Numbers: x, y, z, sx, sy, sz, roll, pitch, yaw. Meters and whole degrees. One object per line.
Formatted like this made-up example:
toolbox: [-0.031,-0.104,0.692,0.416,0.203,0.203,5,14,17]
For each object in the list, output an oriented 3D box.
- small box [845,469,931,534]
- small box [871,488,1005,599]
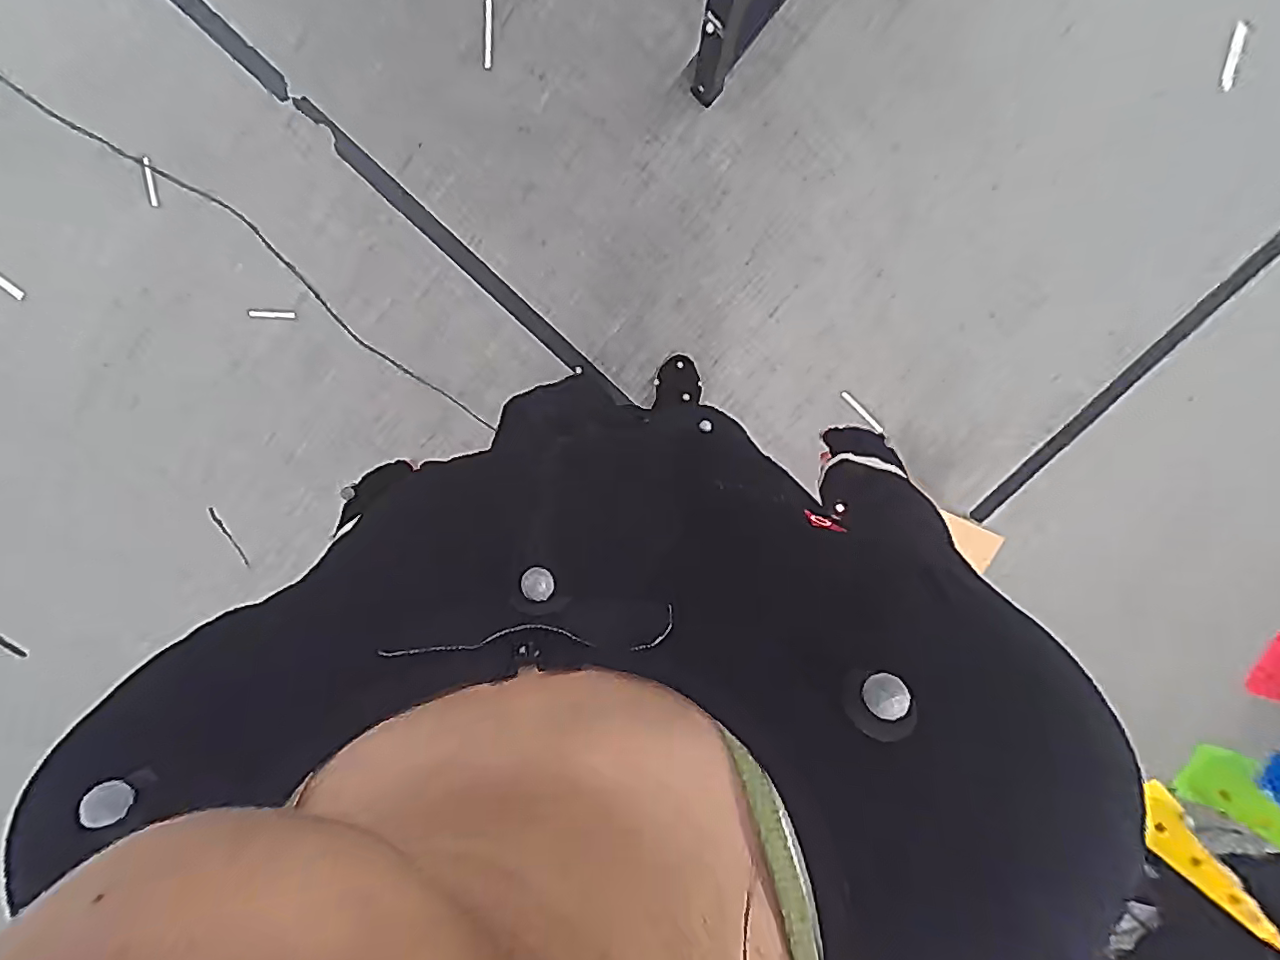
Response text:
small box: [0.670,0.089,1.407,0.179,0.176,0.168,40,103,-9]
small box: [0.676,0.137,1.250,0.179,0.176,0.168,28,103,-4]
